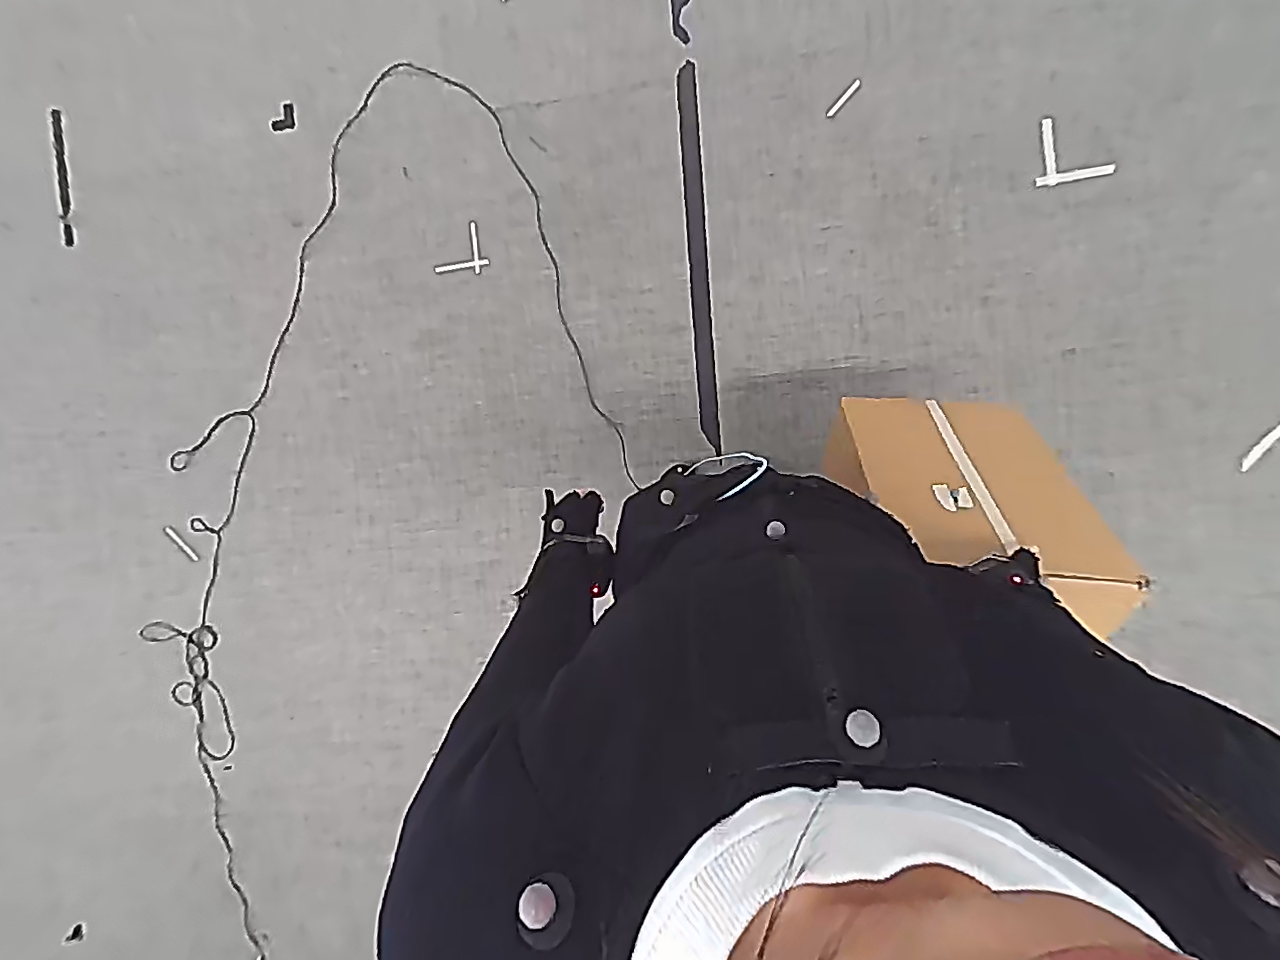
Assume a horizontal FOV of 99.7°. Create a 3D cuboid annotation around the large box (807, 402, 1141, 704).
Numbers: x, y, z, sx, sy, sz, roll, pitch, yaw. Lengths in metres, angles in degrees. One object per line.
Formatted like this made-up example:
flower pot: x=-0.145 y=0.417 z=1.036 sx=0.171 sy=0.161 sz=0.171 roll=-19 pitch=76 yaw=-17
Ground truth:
large box: x=0.492 y=0.110 z=0.927 sx=0.320 sy=0.408 sz=0.320 roll=3 pitch=132 yaw=6
